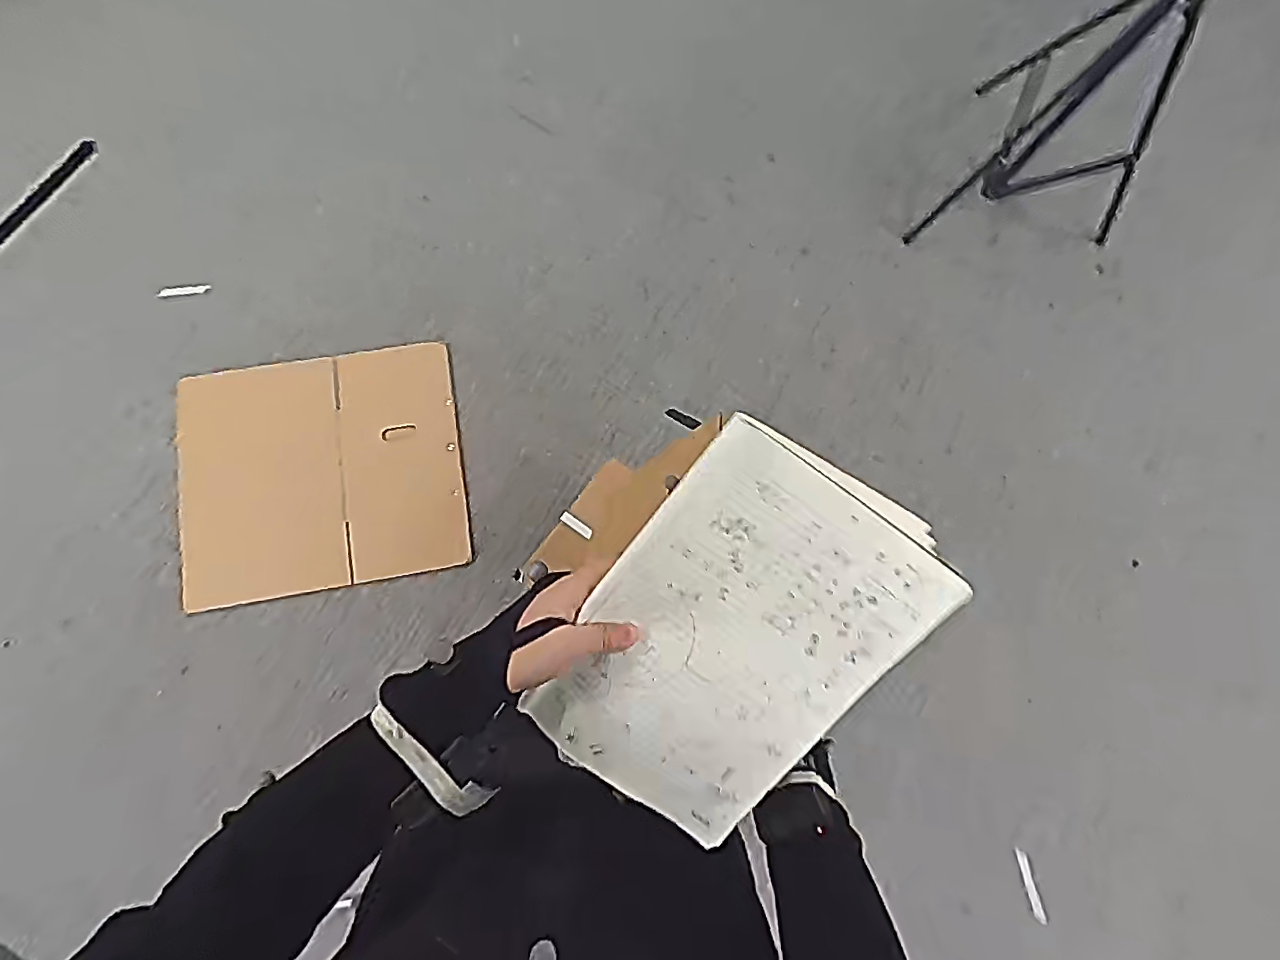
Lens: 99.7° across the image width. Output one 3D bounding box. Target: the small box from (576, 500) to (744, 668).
[{"bbox_3d":[0.027,0.154,0.818,0.179,0.176,0.168,35,79,6],"label":"small box"}]
